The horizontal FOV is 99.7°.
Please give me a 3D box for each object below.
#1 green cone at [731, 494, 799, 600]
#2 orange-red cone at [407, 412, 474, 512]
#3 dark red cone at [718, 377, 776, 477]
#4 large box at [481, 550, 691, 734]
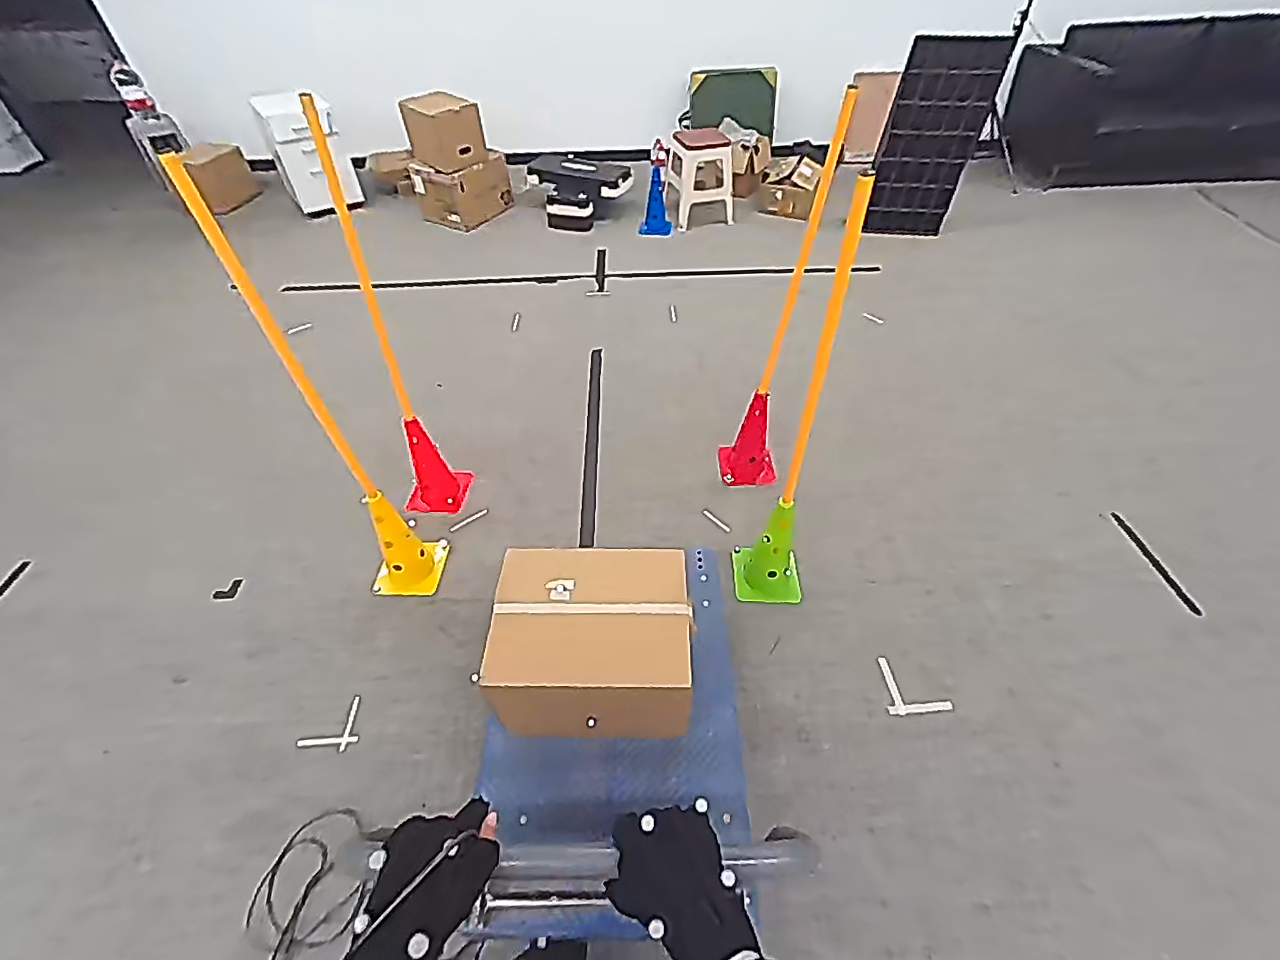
[{"bbox_3d":[0.399,0.177,1.597,0.202,0.368,0.200,2,48,1],"label":"green cone"},{"bbox_3d":[-0.722,-0.086,1.848,0.198,0.360,0.199,5,46,3],"label":"orange-red cone"},{"bbox_3d":[0.405,-0.193,1.911,0.201,0.394,0.202,0,48,-2],"label":"dark red cone"},{"bbox_3d":[-0.098,0.372,1.227,0.408,0.320,0.320,0,48,2],"label":"large box"}]
